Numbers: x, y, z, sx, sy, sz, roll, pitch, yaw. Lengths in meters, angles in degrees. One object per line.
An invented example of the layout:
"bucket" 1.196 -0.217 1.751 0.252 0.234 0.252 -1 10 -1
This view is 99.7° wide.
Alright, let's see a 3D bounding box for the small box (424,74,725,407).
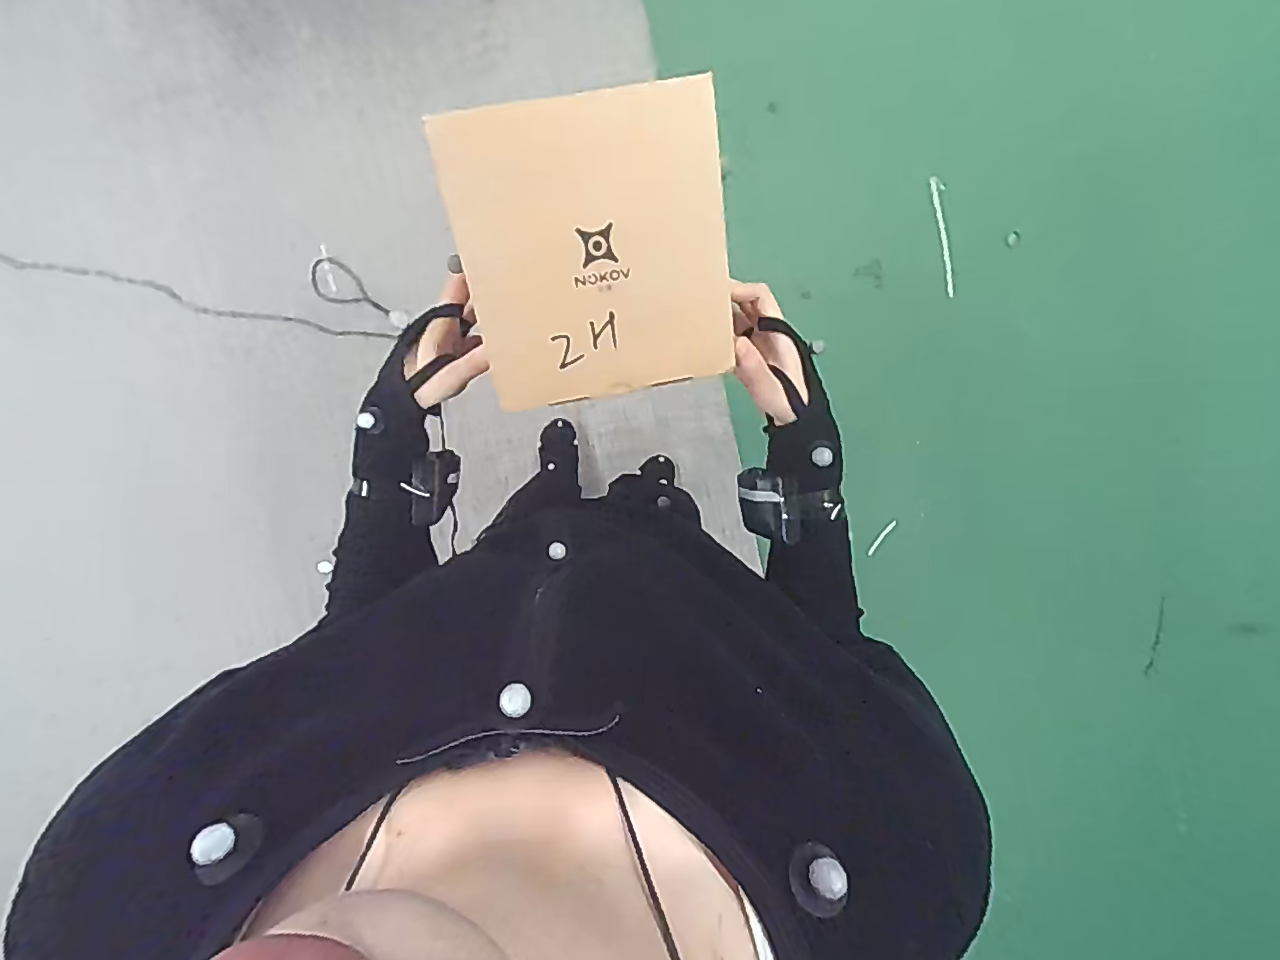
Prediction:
"small box" -0.043 -0.174 0.414 0.168 0.176 0.179 -12 116 -4
